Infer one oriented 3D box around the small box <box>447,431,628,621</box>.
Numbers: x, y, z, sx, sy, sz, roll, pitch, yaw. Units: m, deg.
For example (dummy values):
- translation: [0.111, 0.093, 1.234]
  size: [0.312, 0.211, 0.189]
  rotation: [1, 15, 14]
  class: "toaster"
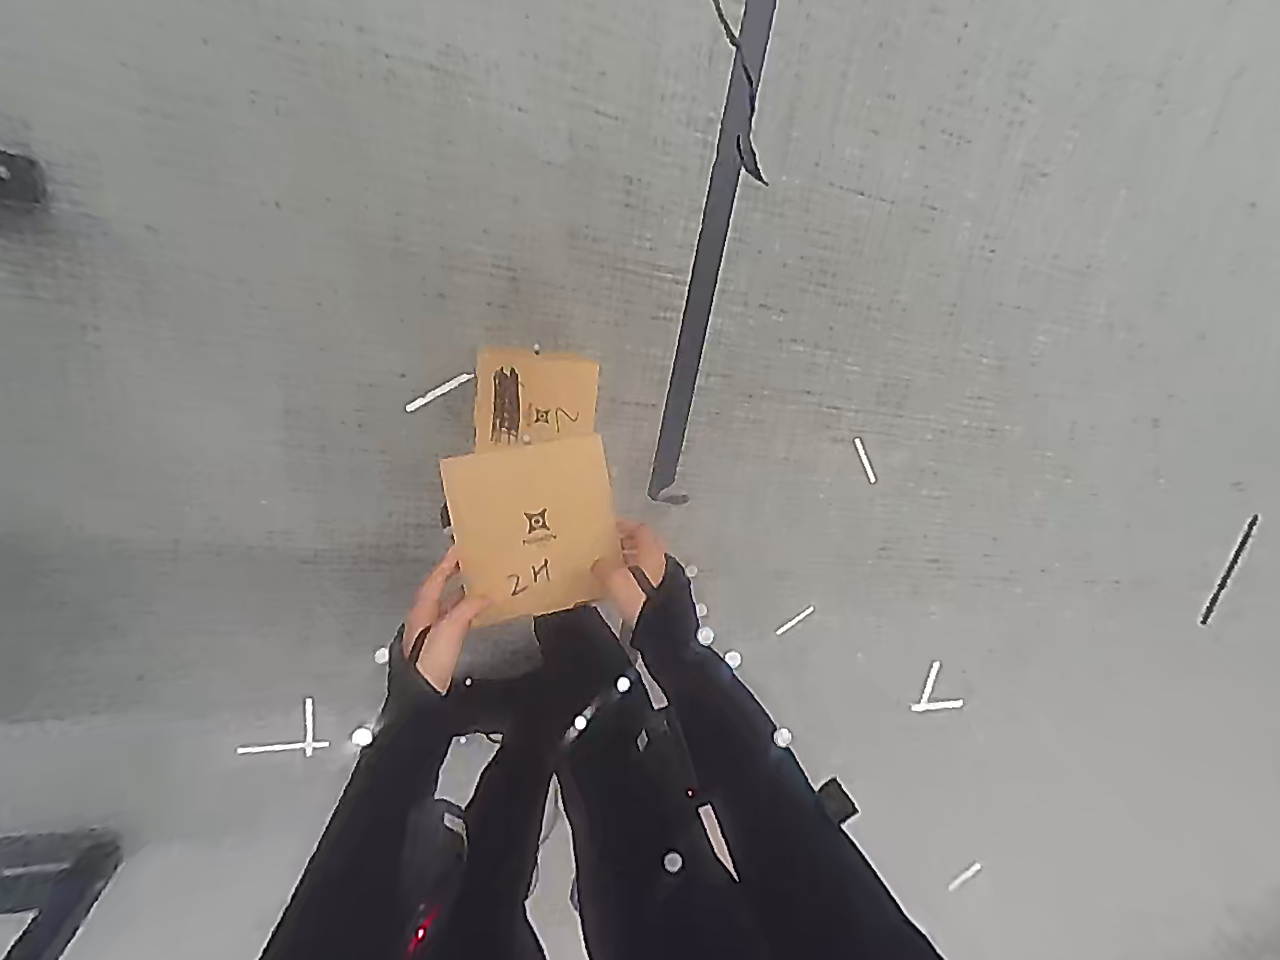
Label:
- translation: [-0.119, 0.043, 0.634]
  size: [0.168, 0.176, 0.179]
  rotation: [-10, 95, -11]
  class: "small box"
